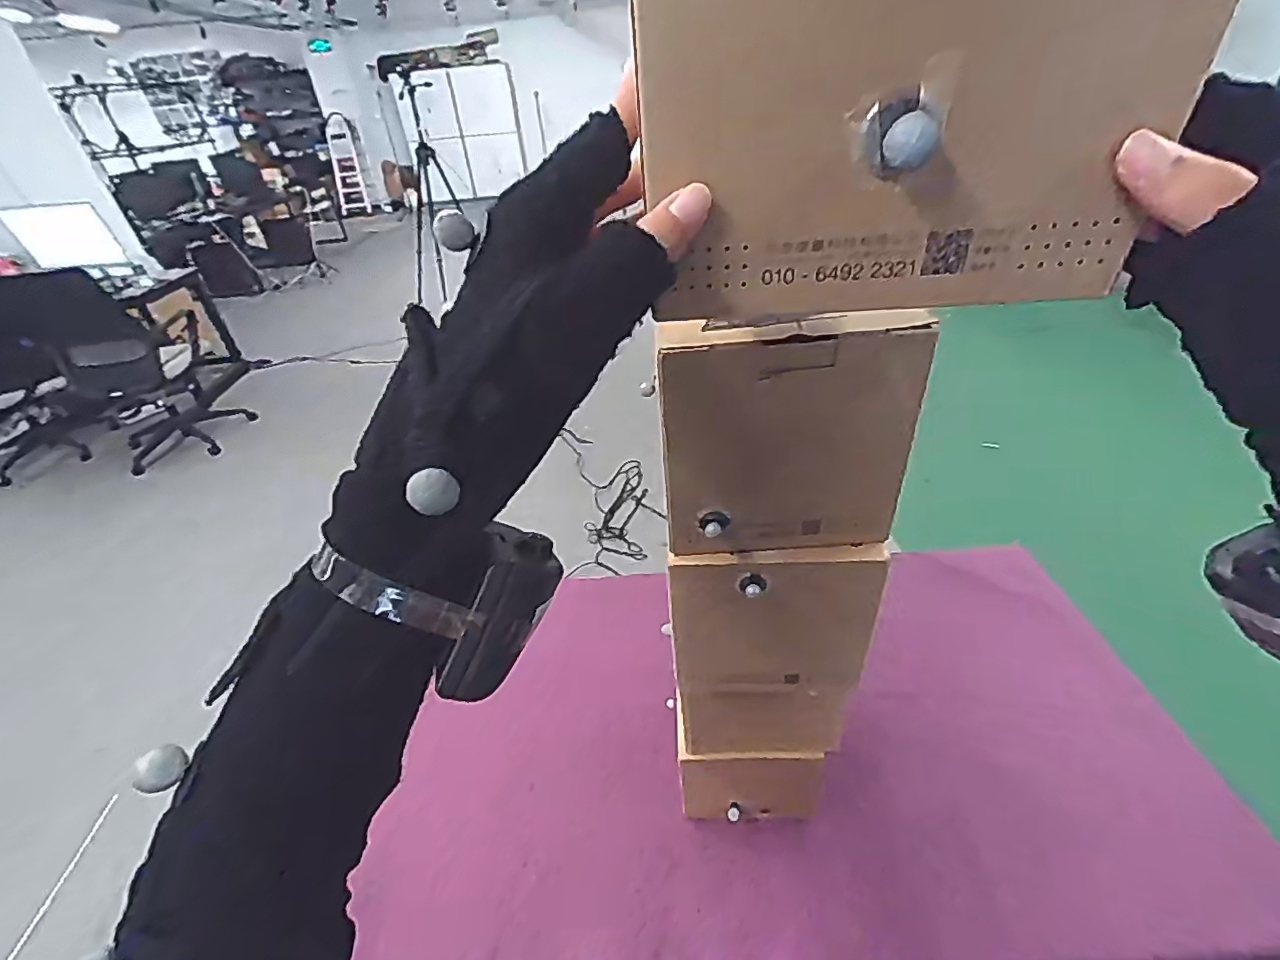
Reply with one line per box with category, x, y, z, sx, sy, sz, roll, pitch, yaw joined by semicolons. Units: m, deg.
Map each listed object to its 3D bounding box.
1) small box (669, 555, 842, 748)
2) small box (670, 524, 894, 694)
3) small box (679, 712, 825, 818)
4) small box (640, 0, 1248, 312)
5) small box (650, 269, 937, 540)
small box;0.129;0.191;0.627;0.179;0.176;0.168;-4;37;4
small box;0.115;0.075;0.511;0.168;0.176;0.179;-3;36;6
small box;0.137;0.321;0.723;0.168;0.176;0.179;-3;38;5
small box;0.087;-0.178;0.216;0.168;0.176;0.179;-2;38;6
small box;0.098;-0.065;0.424;0.168;0.176;0.179;-4;36;2
